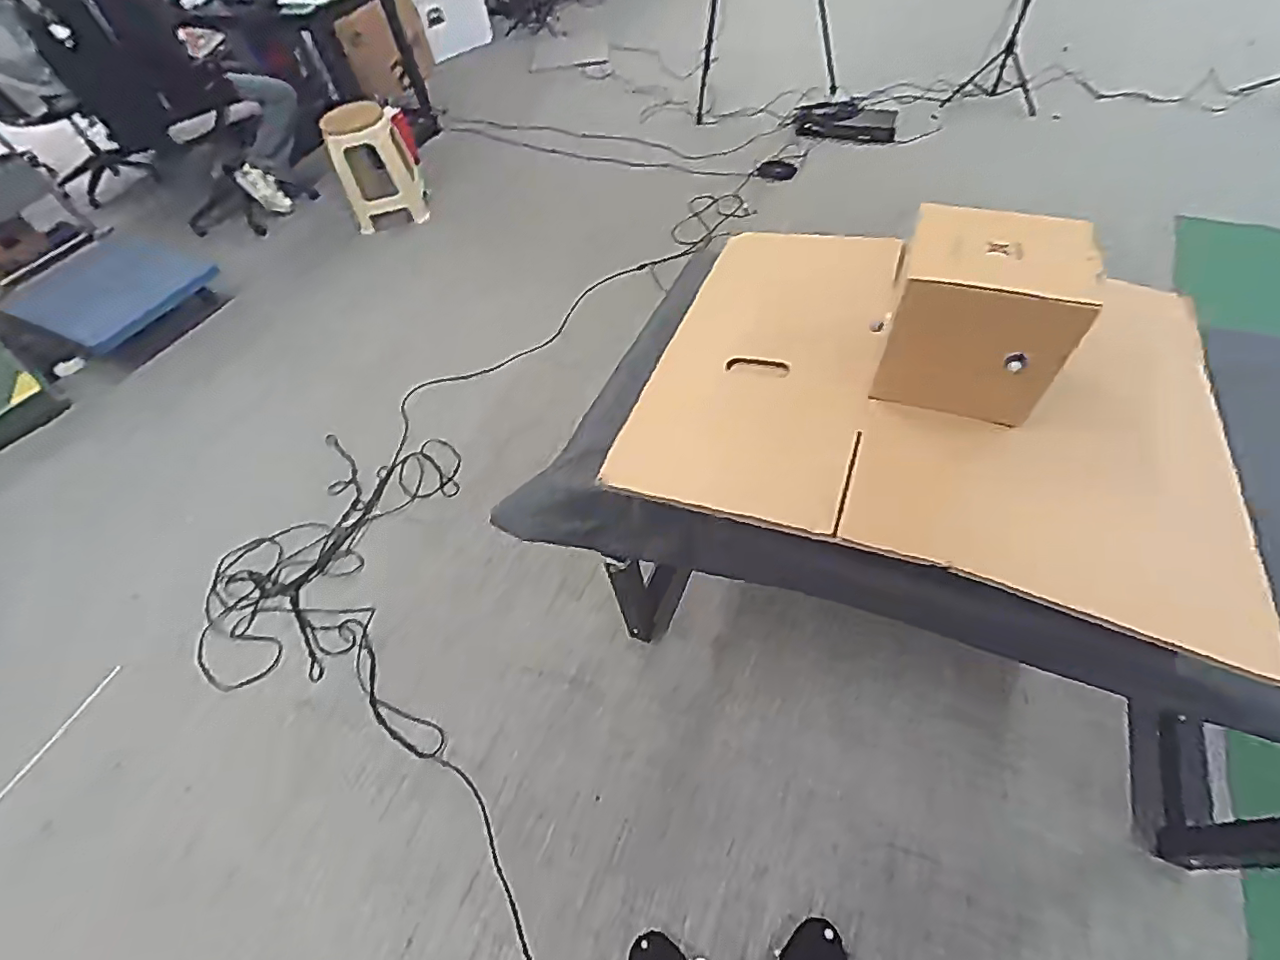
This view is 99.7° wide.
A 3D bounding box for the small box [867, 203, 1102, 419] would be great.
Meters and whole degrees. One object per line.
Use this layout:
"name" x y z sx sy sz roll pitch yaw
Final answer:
"small box" 0.387 -0.193 0.633 0.179 0.176 0.168 15 55 17
